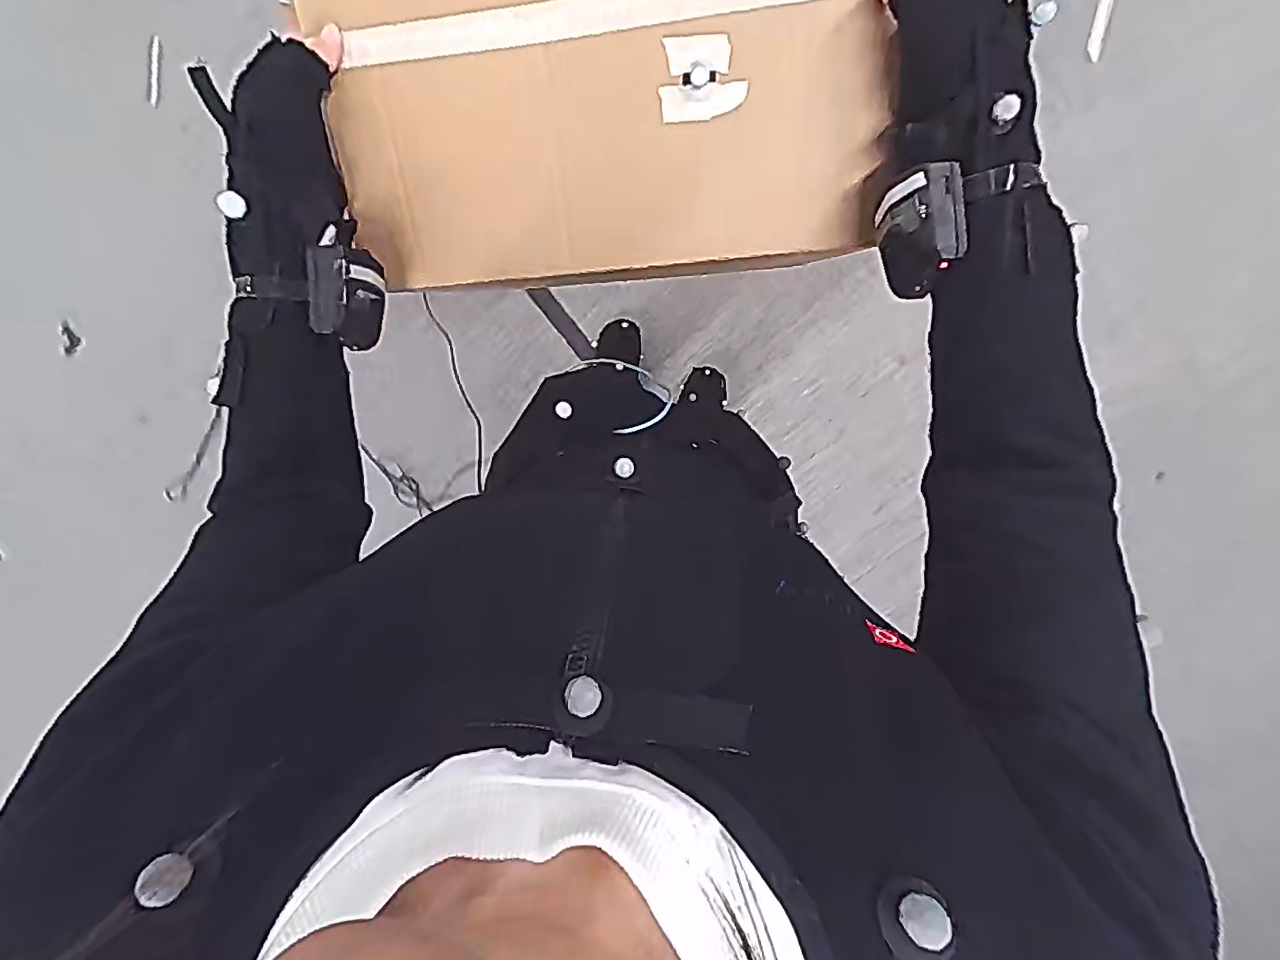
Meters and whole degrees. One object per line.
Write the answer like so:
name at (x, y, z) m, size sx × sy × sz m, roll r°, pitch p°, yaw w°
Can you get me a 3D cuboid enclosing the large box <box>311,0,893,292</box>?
large box at (-0.022, -0.364, 0.511) m, size 0.408 × 0.320 × 0.320 m, roll -5°, pitch 109°, yaw 5°
